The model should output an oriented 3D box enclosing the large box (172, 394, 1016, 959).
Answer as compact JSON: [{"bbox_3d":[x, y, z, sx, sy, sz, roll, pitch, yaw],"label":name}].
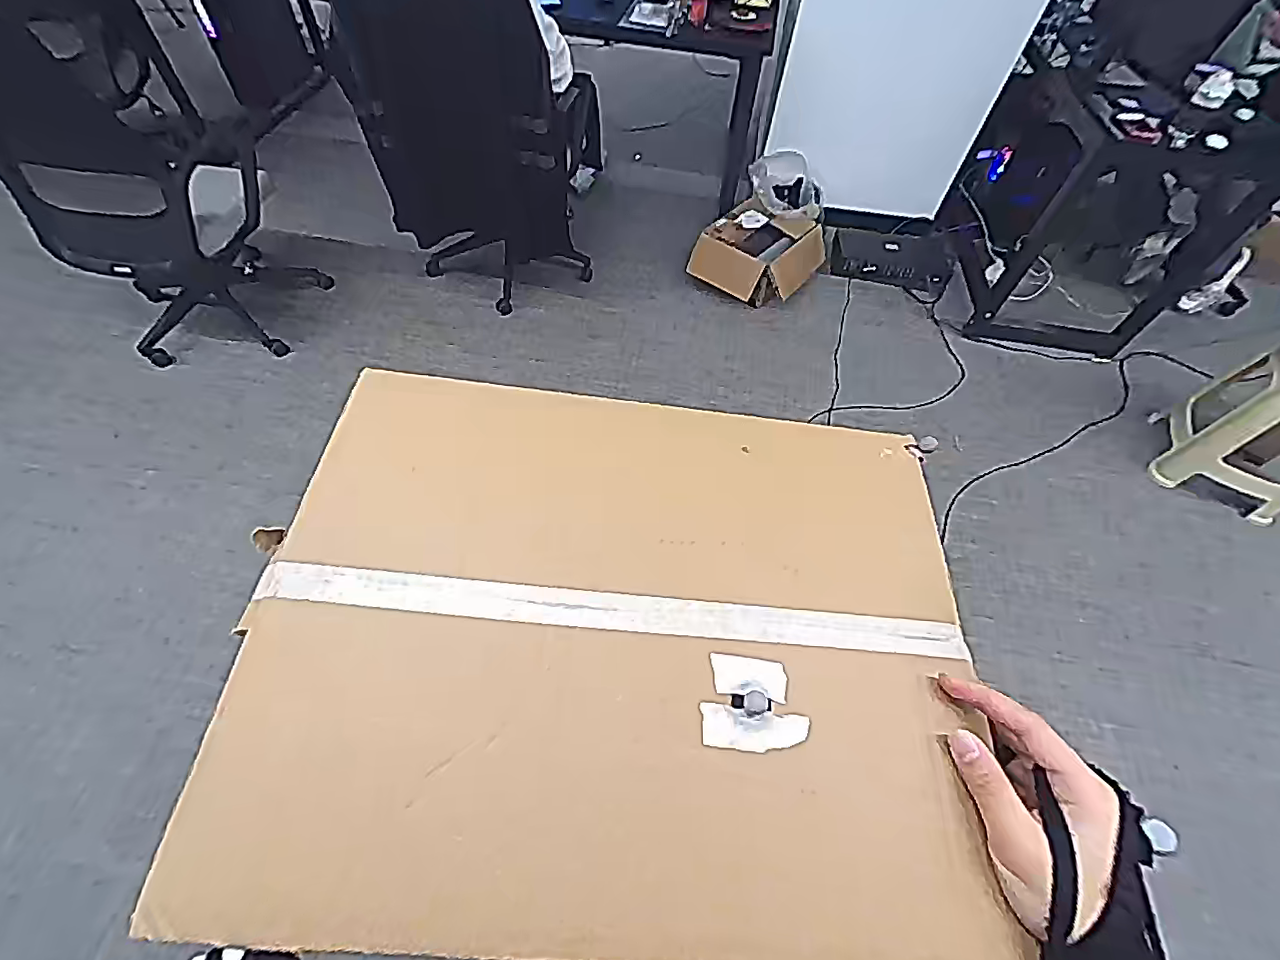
[{"bbox_3d":[-0.022,0.163,0.452,0.408,0.320,0.320,7,60,-5],"label":"large box"}]
